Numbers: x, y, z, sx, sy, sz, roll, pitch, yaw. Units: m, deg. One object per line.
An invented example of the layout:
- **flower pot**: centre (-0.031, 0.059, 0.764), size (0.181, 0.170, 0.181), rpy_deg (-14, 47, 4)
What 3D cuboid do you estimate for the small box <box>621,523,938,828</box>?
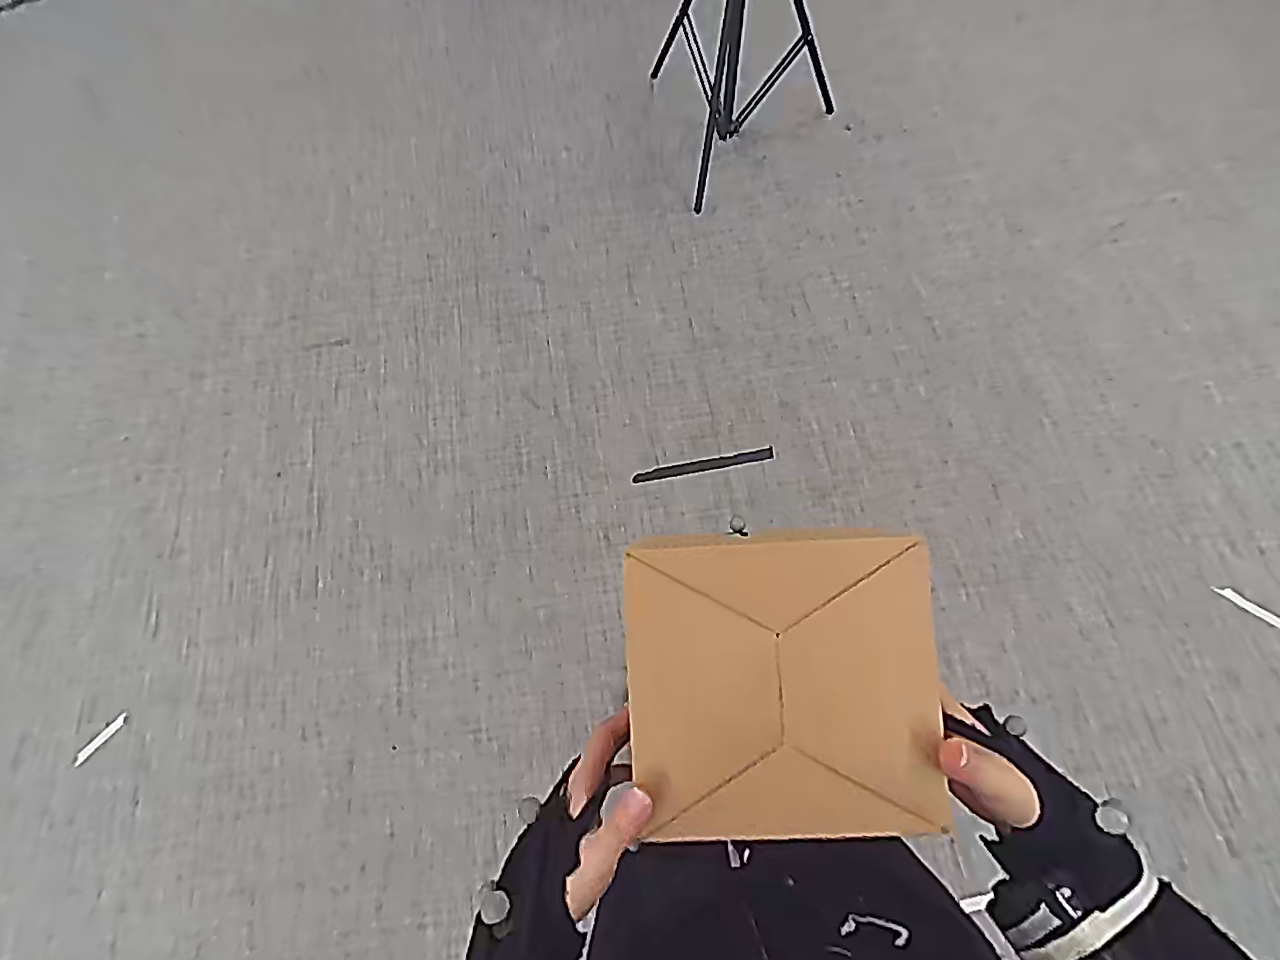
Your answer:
- **small box**: centre (0.084, 0.119, 0.386), size (0.179, 0.176, 0.168), rpy_deg (-3, 85, 2)
